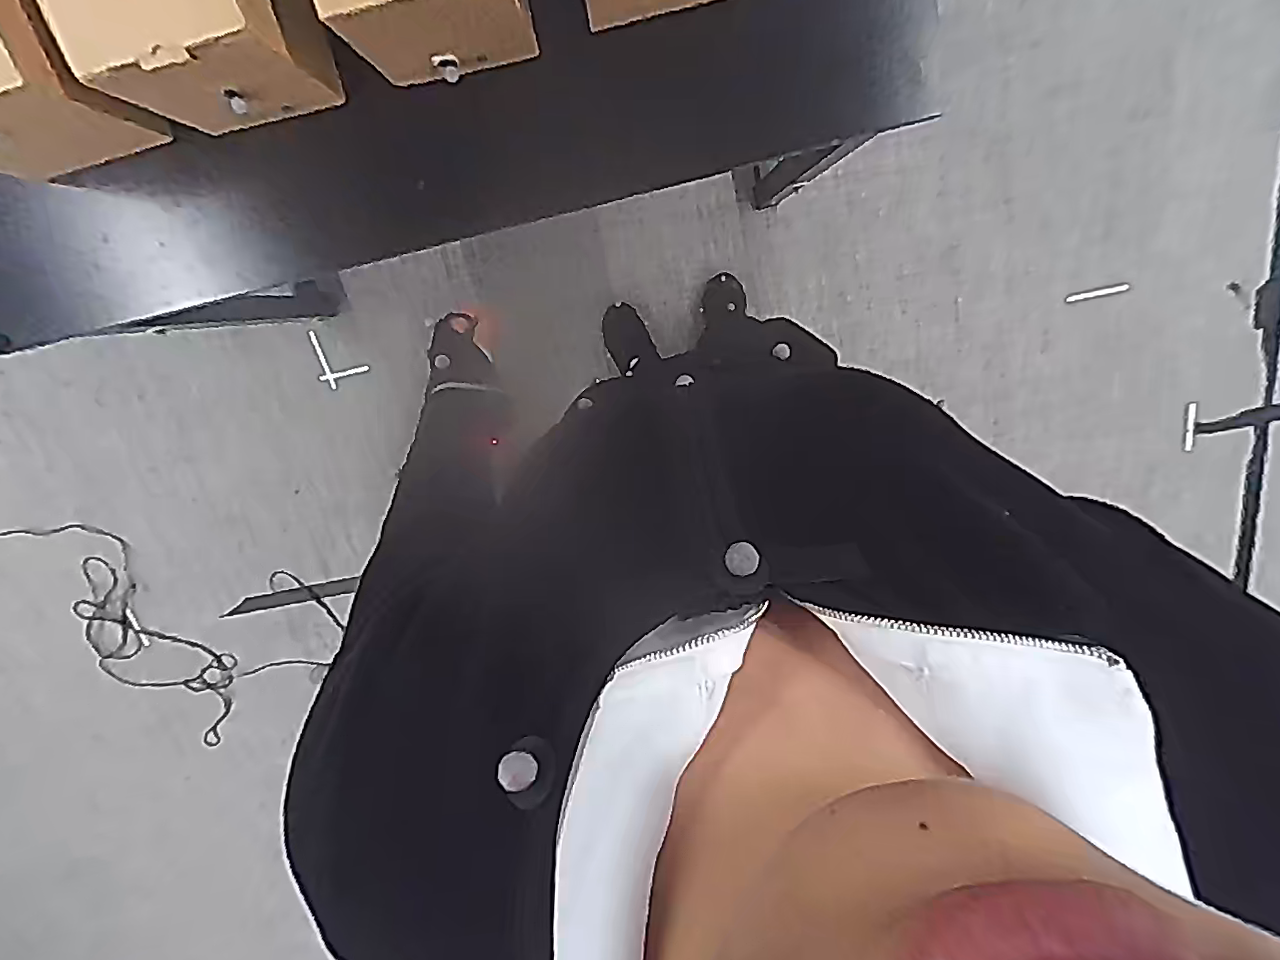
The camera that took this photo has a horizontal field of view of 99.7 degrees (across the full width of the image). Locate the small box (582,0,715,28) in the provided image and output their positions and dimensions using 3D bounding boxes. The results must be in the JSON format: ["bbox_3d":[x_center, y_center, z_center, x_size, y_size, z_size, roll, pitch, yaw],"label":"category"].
[{"bbox_3d":[0.014,-0.564,0.495,0.179,0.176,0.168,-11,107,3],"label":"small box"}]

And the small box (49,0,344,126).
[{"bbox_3d":[-0.428,-0.471,0.524,0.168,0.176,0.179,-11,108,4],"label":"small box"}]

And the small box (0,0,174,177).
[{"bbox_3d":[-0.638,-0.424,0.536,0.179,0.176,0.168,-15,108,3],"label":"small box"}]
